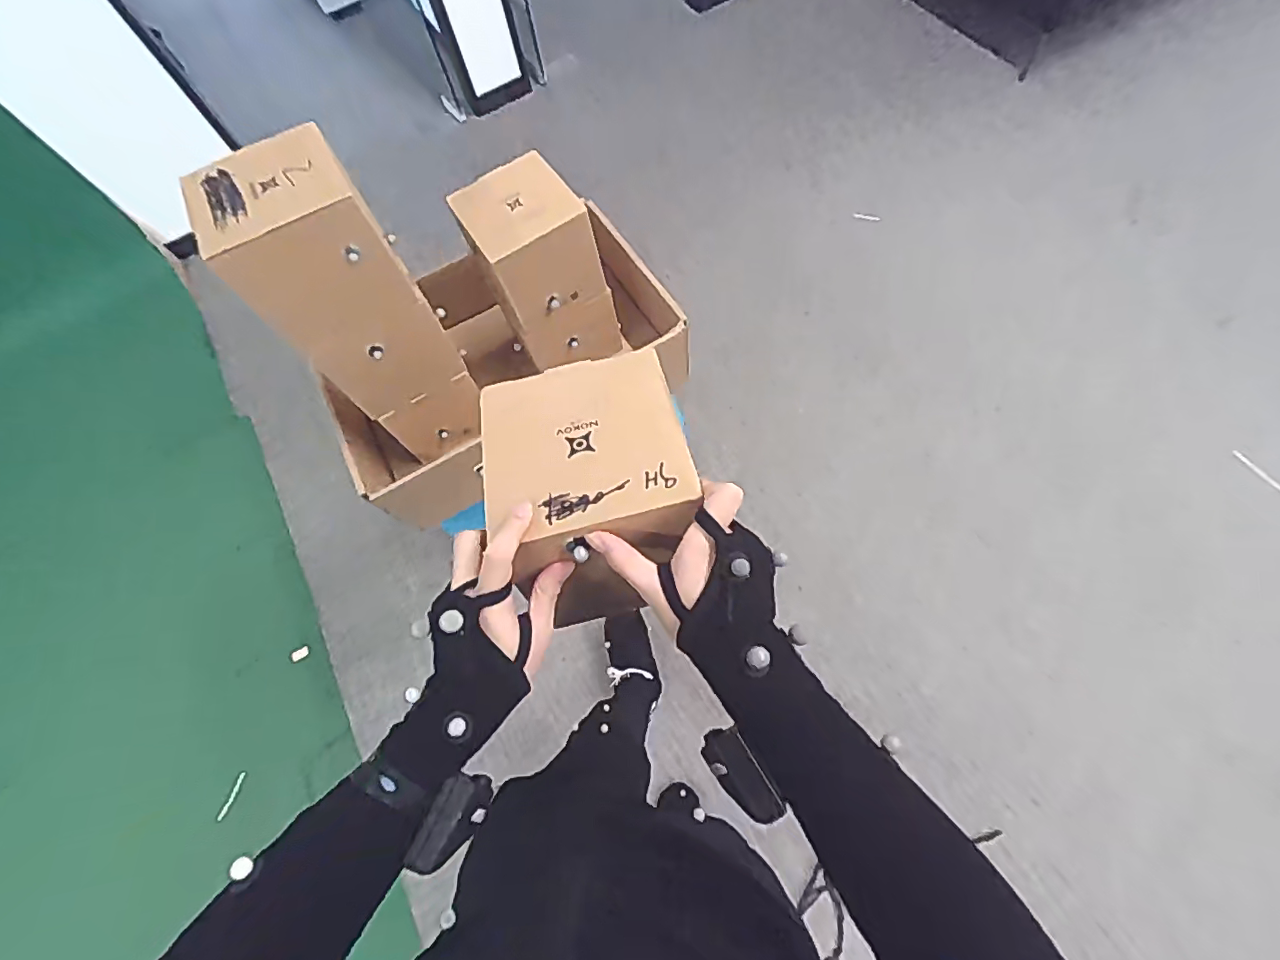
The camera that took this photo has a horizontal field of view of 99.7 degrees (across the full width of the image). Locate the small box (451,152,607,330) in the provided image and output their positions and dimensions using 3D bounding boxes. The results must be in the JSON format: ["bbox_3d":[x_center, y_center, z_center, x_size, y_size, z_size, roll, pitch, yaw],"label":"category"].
[{"bbox_3d":[-0.174,-0.384,0.886,0.168,0.176,0.179,-32,66,-6],"label":"small box"}]

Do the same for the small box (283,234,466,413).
[{"bbox_3d":[-0.405,-0.236,0.847,0.179,0.176,0.168,-30,67,-9],"label":"small box"}]

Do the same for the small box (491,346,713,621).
[{"bbox_3d":[-0.033,0.007,0.511,0.168,0.176,0.179,-14,53,0],"label":"small box"}]
